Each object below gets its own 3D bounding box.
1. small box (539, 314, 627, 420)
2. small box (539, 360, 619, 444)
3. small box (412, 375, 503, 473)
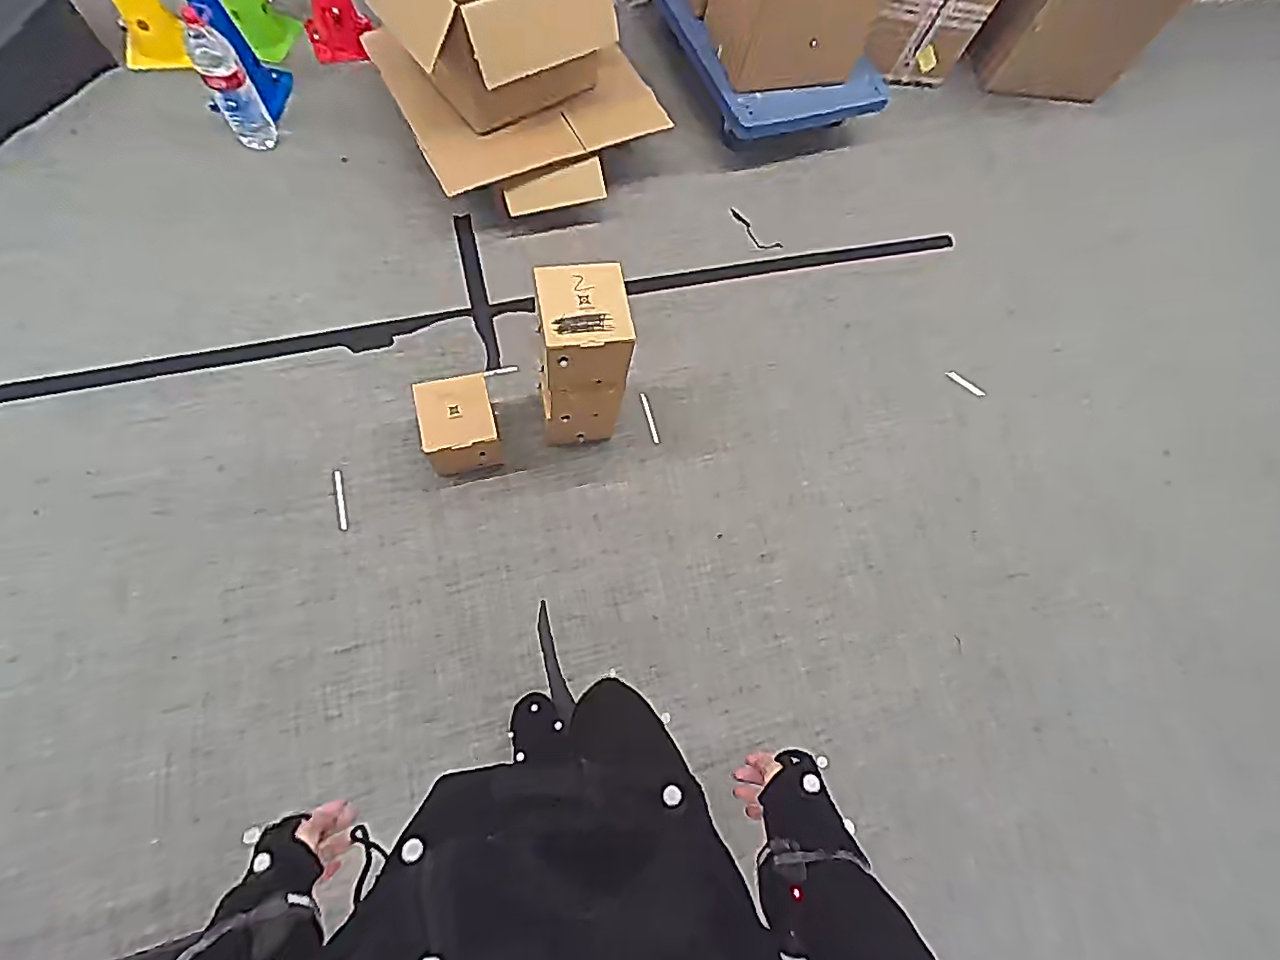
[{"bbox_3d":[-0.132,-0.246,1.222,0.168,0.176,0.179,-9,73,-12],"label":"small box"},{"bbox_3d":[-0.161,-0.201,1.378,0.179,0.176,0.168,-8,74,-12],"label":"small box"},{"bbox_3d":[-0.435,-0.127,1.311,0.168,0.176,0.179,-14,74,-14],"label":"small box"}]
